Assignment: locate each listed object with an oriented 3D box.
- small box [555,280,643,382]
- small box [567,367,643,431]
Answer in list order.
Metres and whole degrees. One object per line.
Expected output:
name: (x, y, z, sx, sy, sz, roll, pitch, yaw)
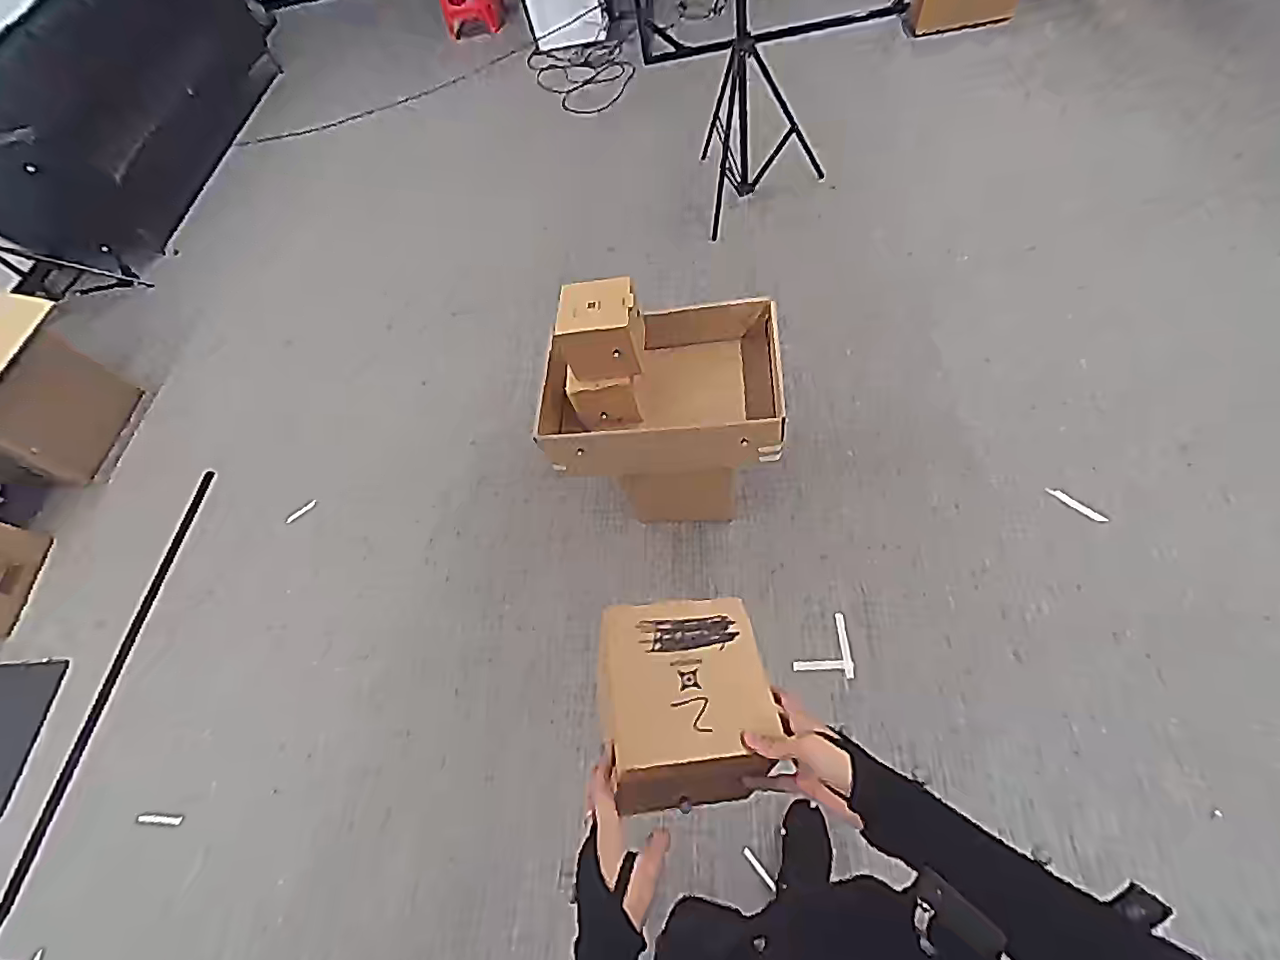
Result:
small box: (-0.091, -0.357, 1.317, 0.179, 0.176, 0.168, -4, 60, 11)
small box: (-0.090, -0.256, 1.452, 0.168, 0.176, 0.179, -8, 60, 9)
